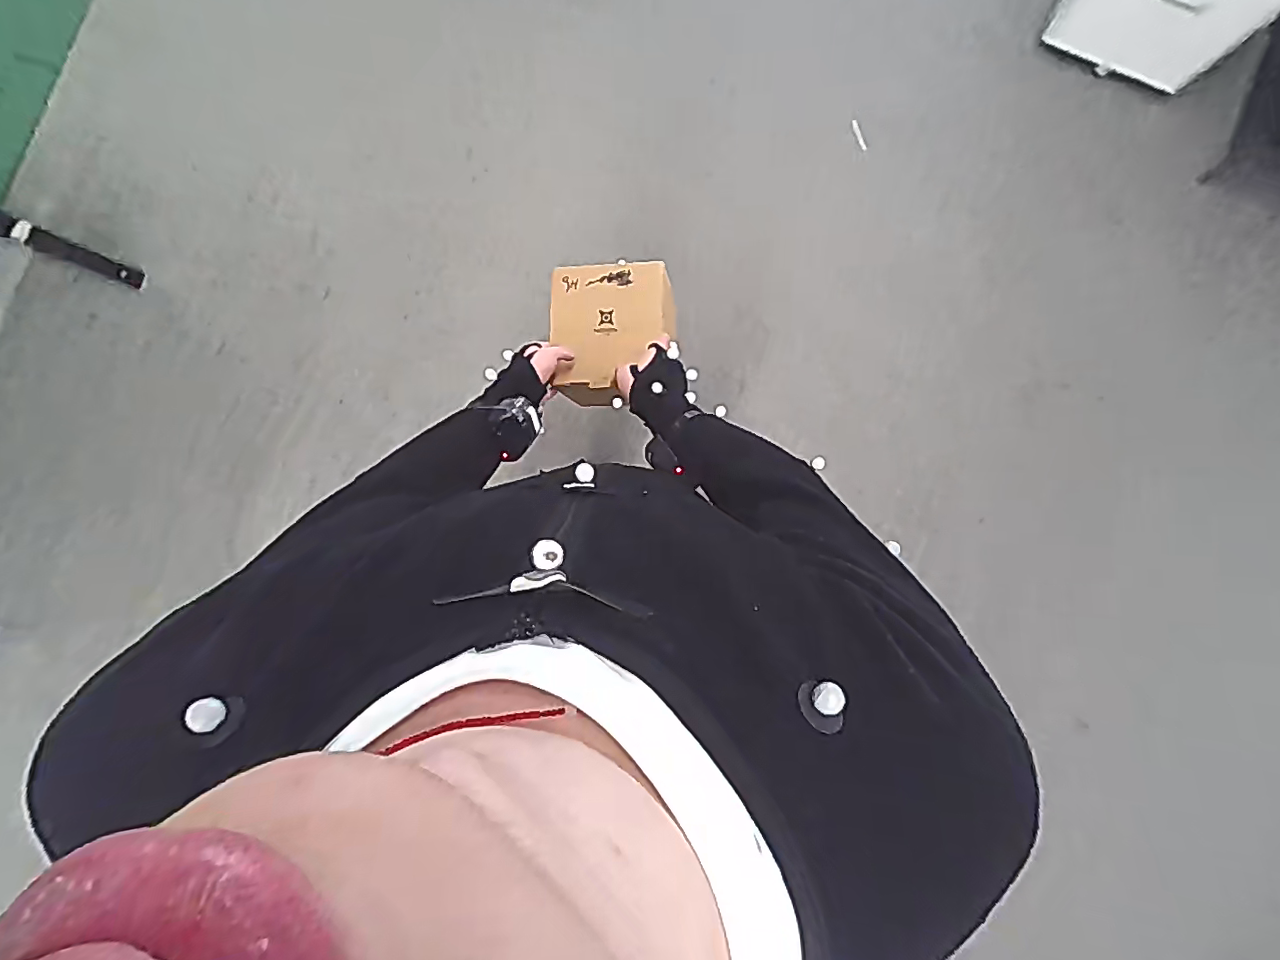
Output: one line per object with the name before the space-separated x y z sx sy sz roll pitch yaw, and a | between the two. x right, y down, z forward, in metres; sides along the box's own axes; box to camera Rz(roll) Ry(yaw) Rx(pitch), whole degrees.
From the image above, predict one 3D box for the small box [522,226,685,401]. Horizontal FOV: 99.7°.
small box | -0.046 -0.244 0.844 0.179 0.176 0.168 -30 81 8
